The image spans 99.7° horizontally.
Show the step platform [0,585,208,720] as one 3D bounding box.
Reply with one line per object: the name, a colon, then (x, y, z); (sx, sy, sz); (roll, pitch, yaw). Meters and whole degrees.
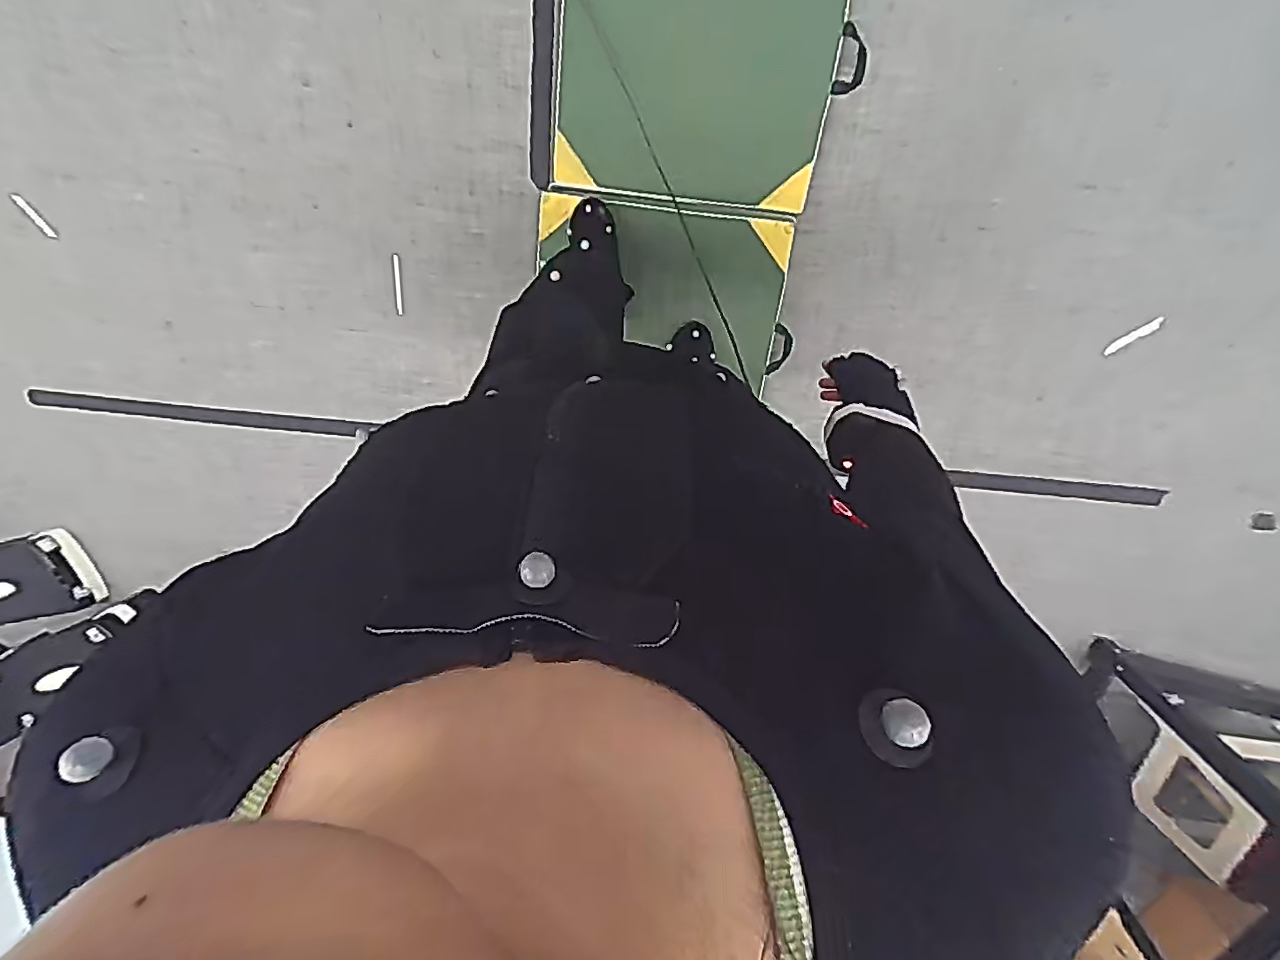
step platform: (-1.948, 0.626, 1.944); (0.684, 0.204, 0.286); (-21, 109, 12)
